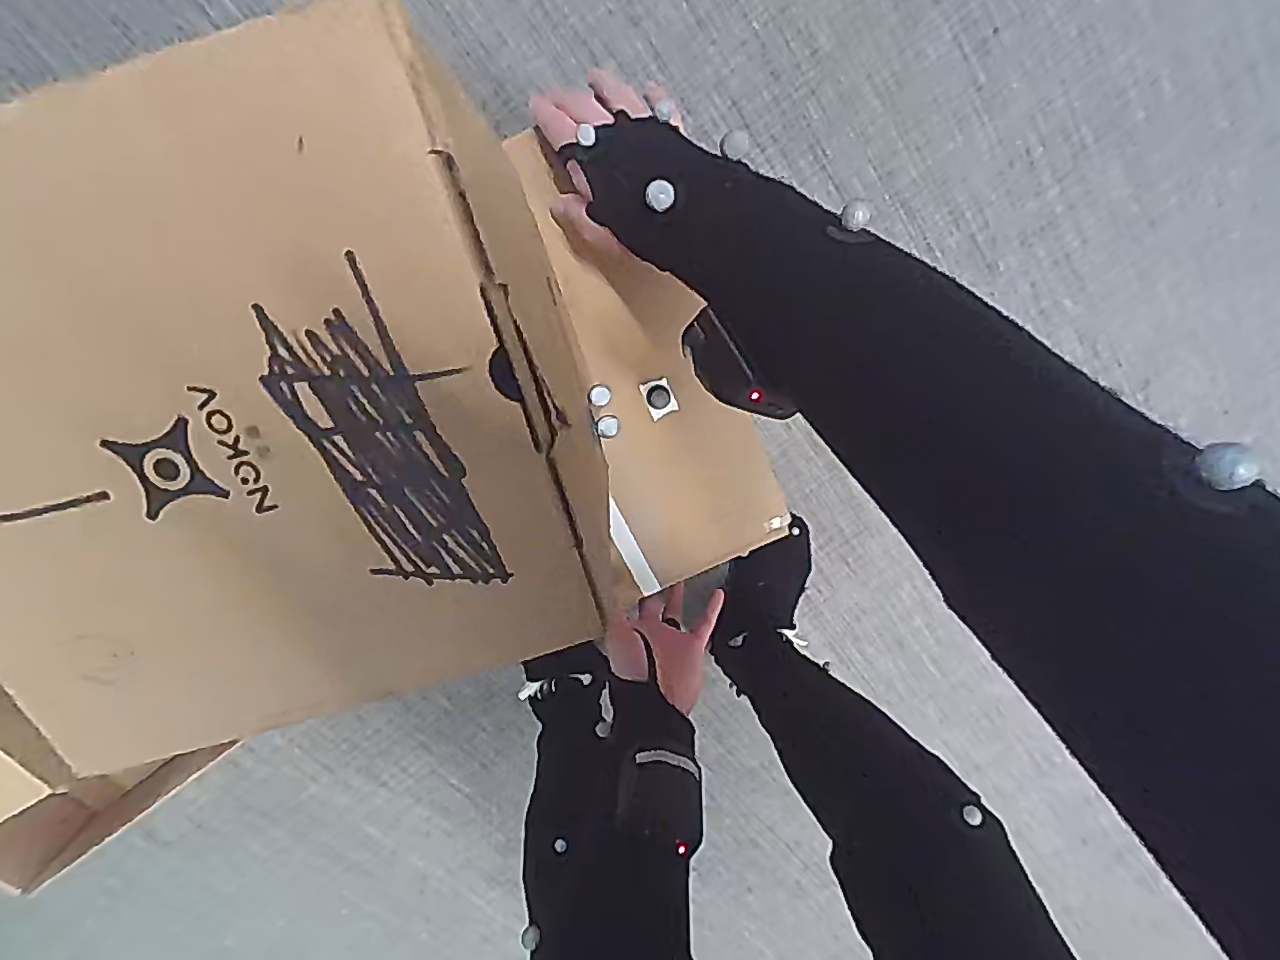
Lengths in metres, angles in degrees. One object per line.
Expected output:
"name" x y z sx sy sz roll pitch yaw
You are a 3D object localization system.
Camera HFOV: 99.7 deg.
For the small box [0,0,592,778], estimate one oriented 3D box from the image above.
"small box" -0.122 -0.032 0.208 0.179 0.176 0.168 -15 109 3
